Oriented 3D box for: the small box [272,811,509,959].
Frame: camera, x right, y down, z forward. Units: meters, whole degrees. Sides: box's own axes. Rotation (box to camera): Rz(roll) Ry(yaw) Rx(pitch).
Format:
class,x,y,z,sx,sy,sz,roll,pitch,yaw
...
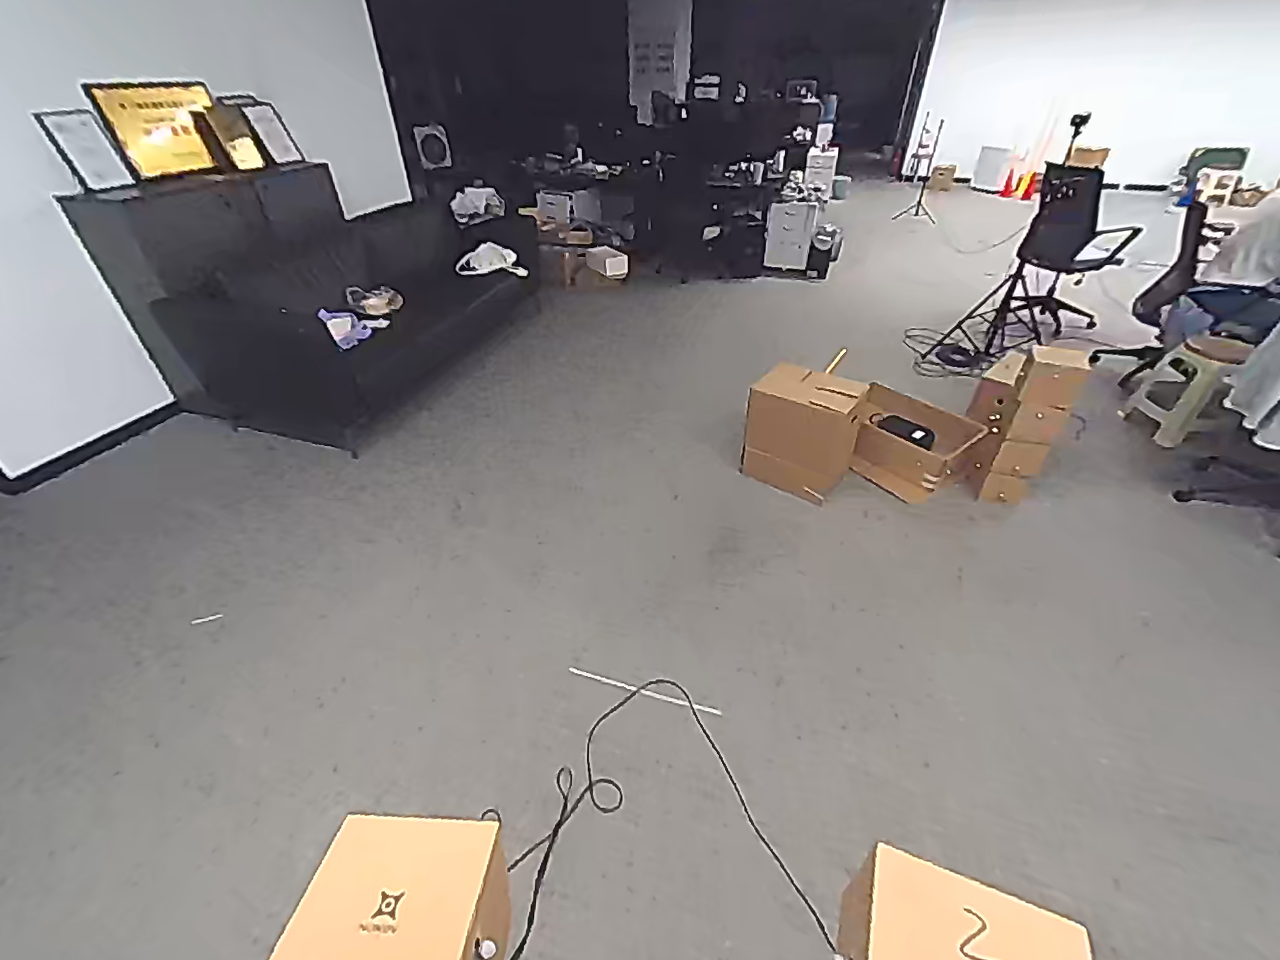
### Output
class,x,y,z,sx,sy,sz,roll,pitch,yaw
small box,-0.233,0.469,0.535,0.168,0.176,0.179,2,25,2
